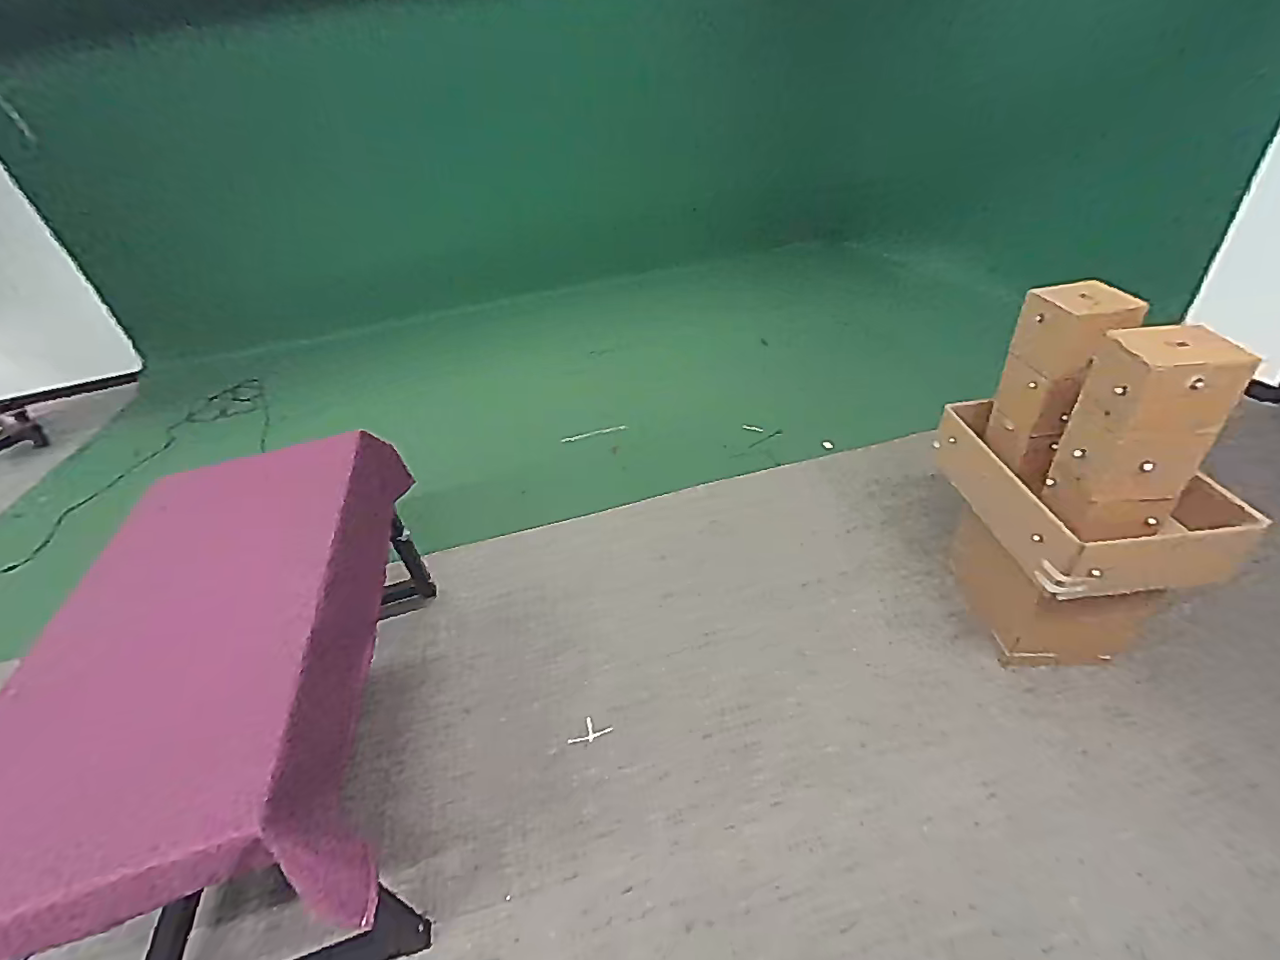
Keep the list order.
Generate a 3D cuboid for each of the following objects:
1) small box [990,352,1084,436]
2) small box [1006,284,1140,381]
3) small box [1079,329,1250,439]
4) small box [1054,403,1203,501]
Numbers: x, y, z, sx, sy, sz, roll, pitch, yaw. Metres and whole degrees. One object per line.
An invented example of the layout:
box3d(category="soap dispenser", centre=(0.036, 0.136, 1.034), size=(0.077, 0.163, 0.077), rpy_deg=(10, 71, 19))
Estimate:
box3d(category="small box", centre=(1.073, -0.237, 1.436), size=(0.168, 0.176, 0.179), rpy_deg=(-8, 39, 2))
box3d(category="small box", centre=(1.051, -0.364, 1.334), size=(0.168, 0.176, 0.179), rpy_deg=(-8, 39, 1))
box3d(category="small box", centre=(1.053, -0.196, 1.113), size=(0.179, 0.176, 0.168), rpy_deg=(-1, 39, 8))
box3d(category="small box", centre=(1.073, -0.066, 1.212), size=(0.179, 0.176, 0.168), rpy_deg=(-3, 38, 8))
